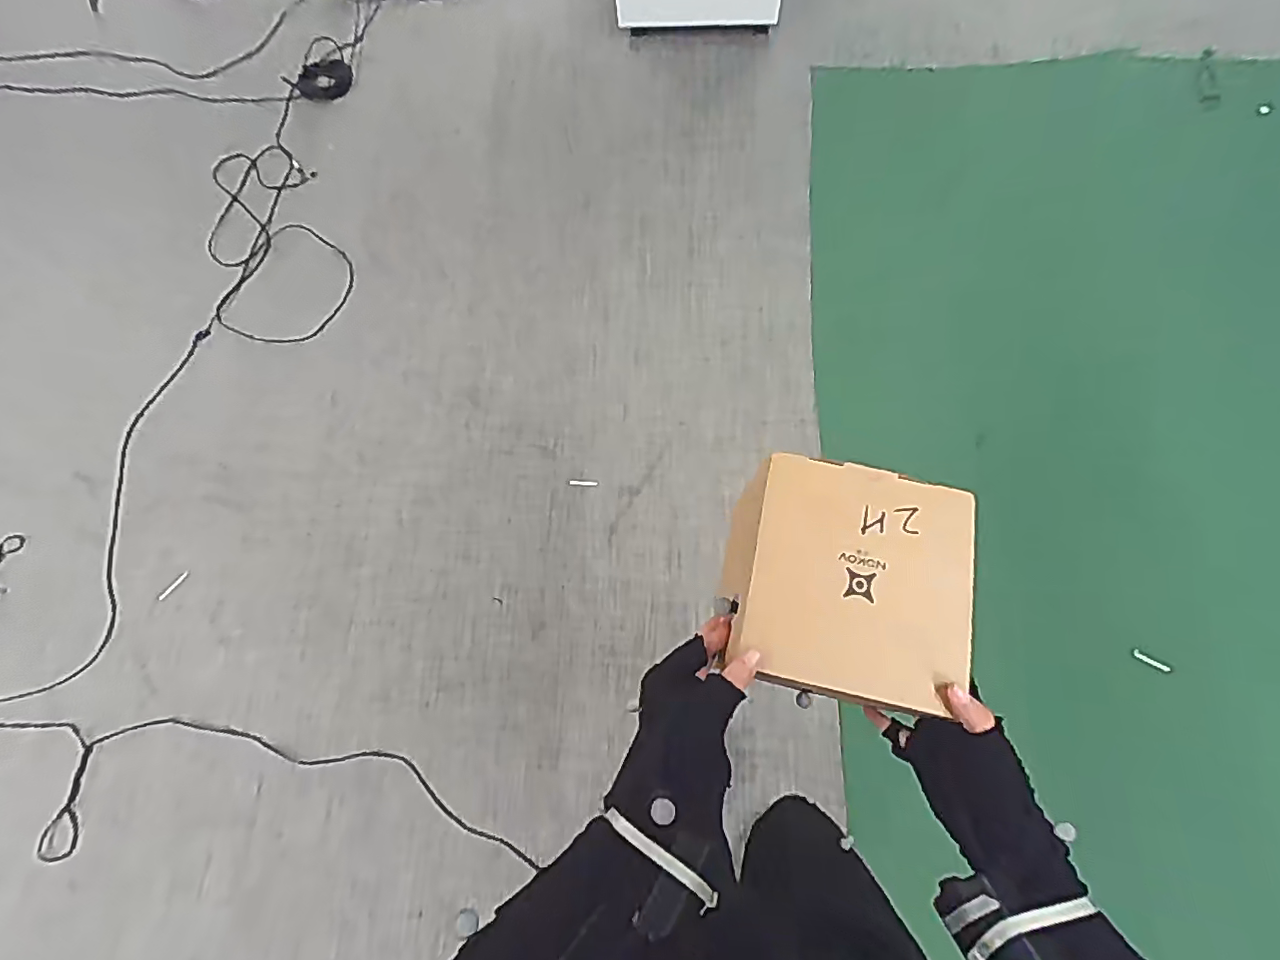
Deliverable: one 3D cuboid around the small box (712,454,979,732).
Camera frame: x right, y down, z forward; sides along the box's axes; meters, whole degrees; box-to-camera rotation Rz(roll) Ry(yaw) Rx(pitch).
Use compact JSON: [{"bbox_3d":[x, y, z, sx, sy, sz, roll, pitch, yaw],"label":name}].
[{"bbox_3d":[0.166,0.103,0.480,0.168,0.176,0.179,14,70,3],"label":"small box"}]
